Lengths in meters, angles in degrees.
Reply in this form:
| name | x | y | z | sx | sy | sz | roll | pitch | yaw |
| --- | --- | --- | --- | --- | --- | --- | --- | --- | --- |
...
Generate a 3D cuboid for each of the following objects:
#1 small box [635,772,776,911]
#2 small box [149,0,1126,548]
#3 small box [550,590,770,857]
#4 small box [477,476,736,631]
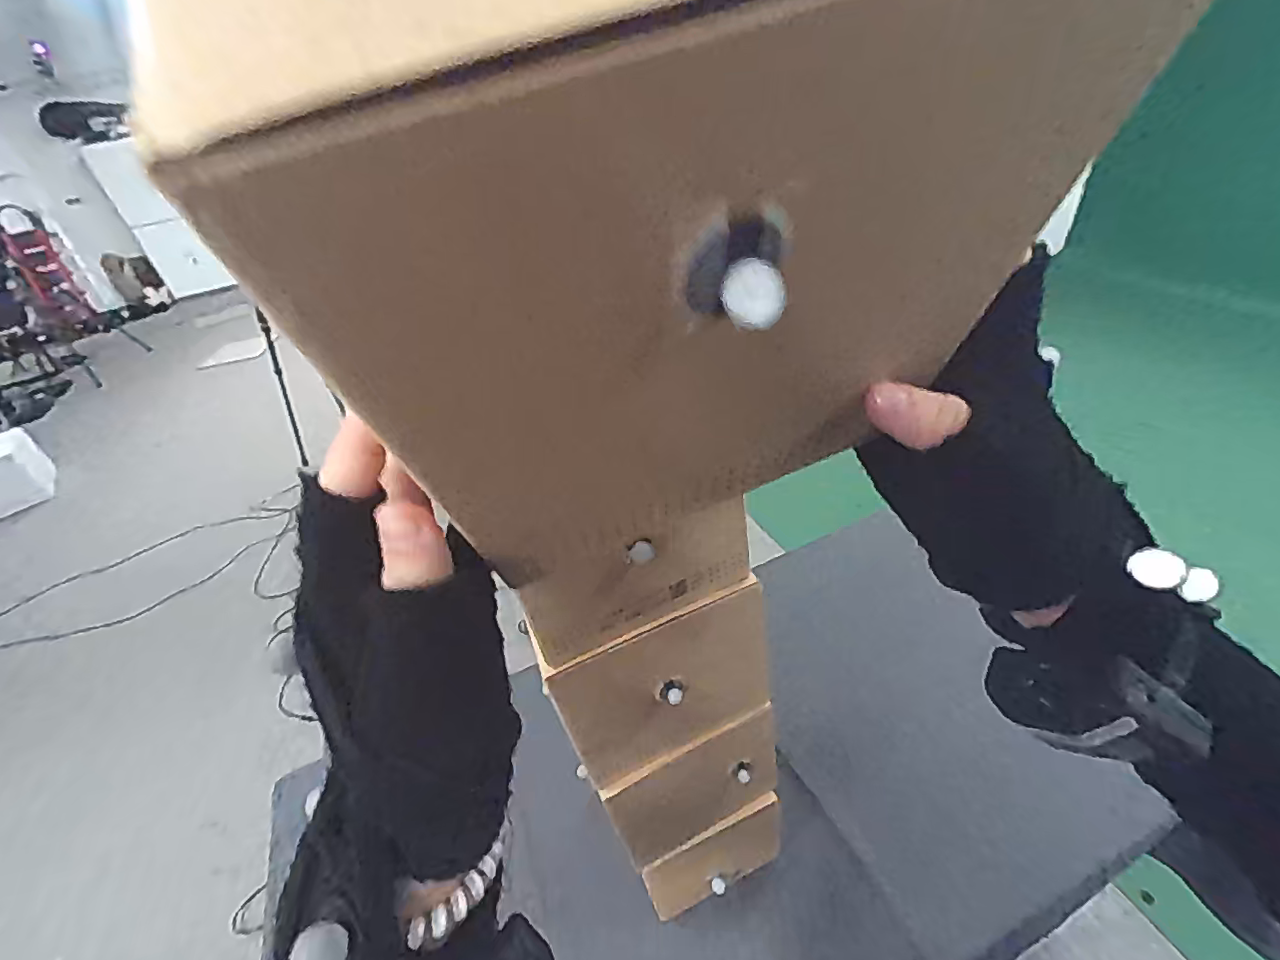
| name | x | y | z | sx | sy | sz | roll | pitch | yaw |
| --- | --- | --- | --- | --- | --- | --- | --- | --- | --- |
| small box | 0.054 | 0.389 | 0.683 | 0.168 | 0.176 | 0.179 | -20 | 37 | -12 |
| small box | -0.006 | -0.099 | 0.183 | 0.179 | 0.176 | 0.168 | -21 | 64 | -9 |
| small box | 0.023 | 0.260 | 0.589 | 0.179 | 0.176 | 0.168 | -22 | 36 | -14 |
| small box | -0.039 | -0.011 | 0.415 | 0.168 | 0.176 | 0.179 | -22 | 37 | -13 |
